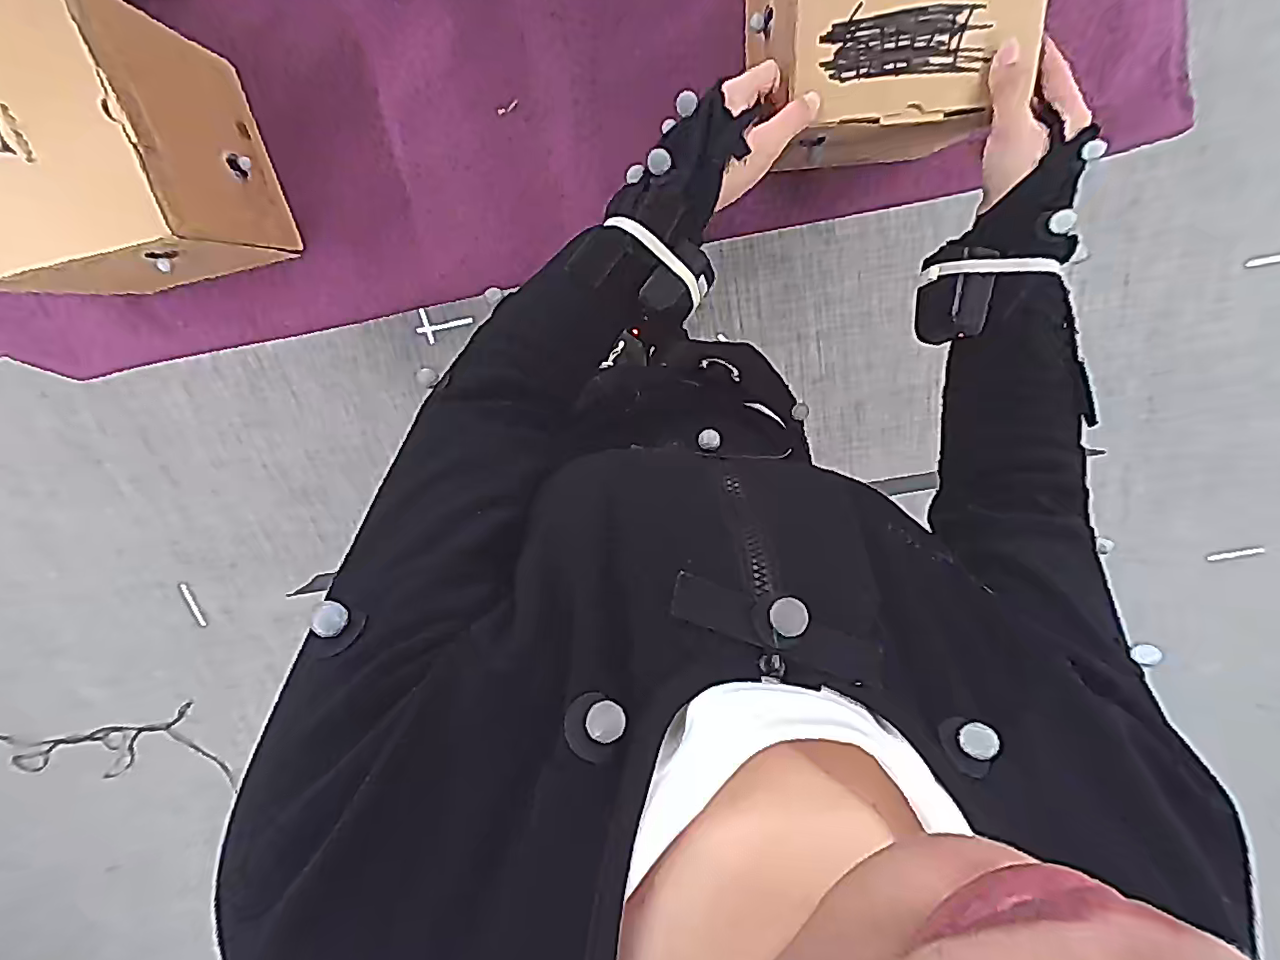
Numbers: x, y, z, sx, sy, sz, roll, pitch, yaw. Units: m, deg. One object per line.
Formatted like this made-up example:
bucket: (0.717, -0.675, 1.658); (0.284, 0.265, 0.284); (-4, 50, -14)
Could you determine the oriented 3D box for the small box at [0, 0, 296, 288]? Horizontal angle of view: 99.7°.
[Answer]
small box: (-0.437, -0.260, 0.445); (0.179, 0.176, 0.168); (-13, 109, 2)
